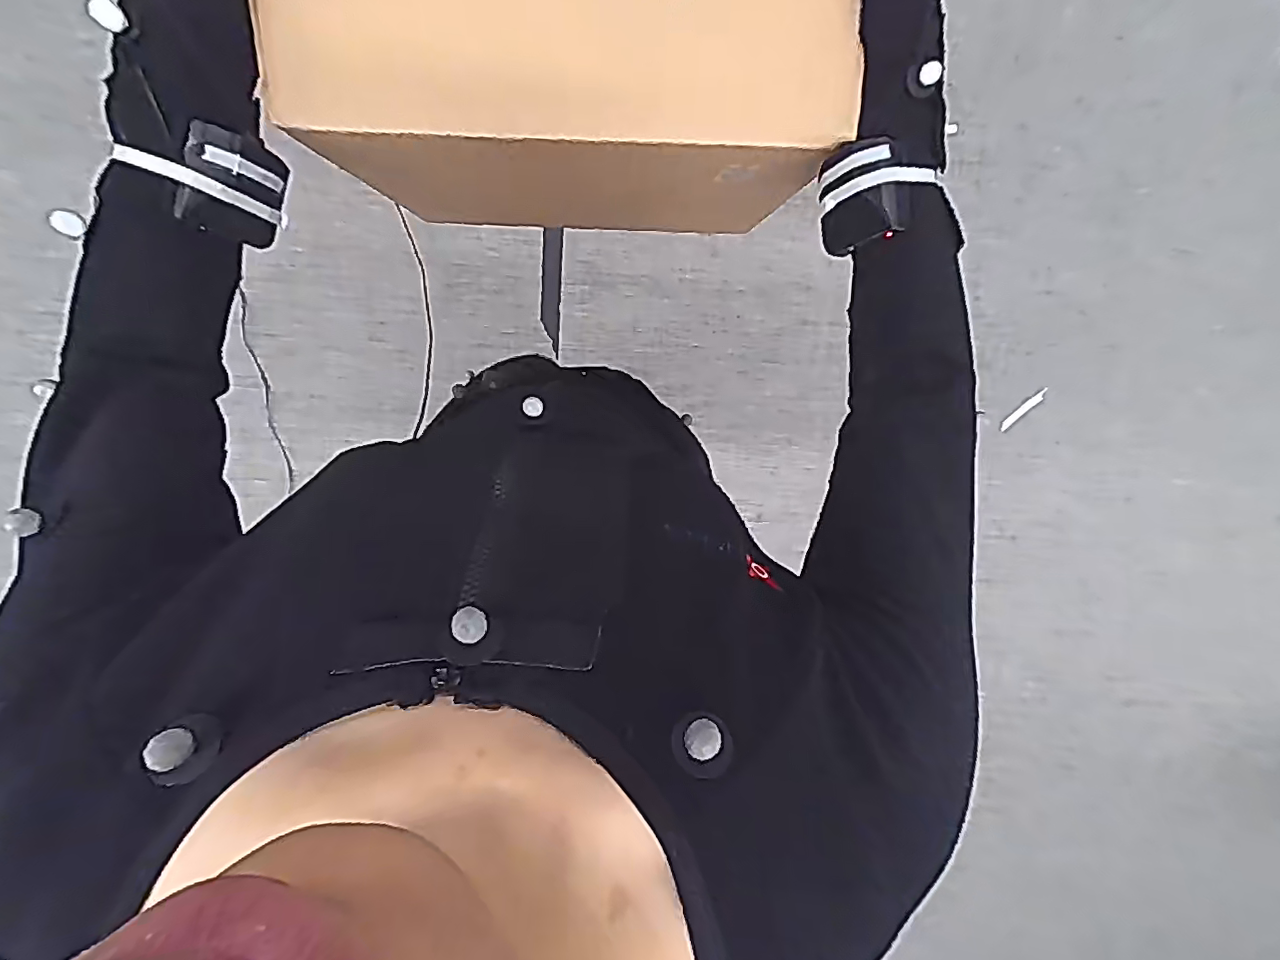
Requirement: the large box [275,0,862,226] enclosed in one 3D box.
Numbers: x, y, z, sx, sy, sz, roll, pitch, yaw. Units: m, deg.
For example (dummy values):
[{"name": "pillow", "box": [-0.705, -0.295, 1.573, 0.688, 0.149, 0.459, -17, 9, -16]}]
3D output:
[{"name": "large box", "box": [-0.052, -0.431, 0.493, 0.408, 0.320, 0.320, 0, 104, -3]}]
